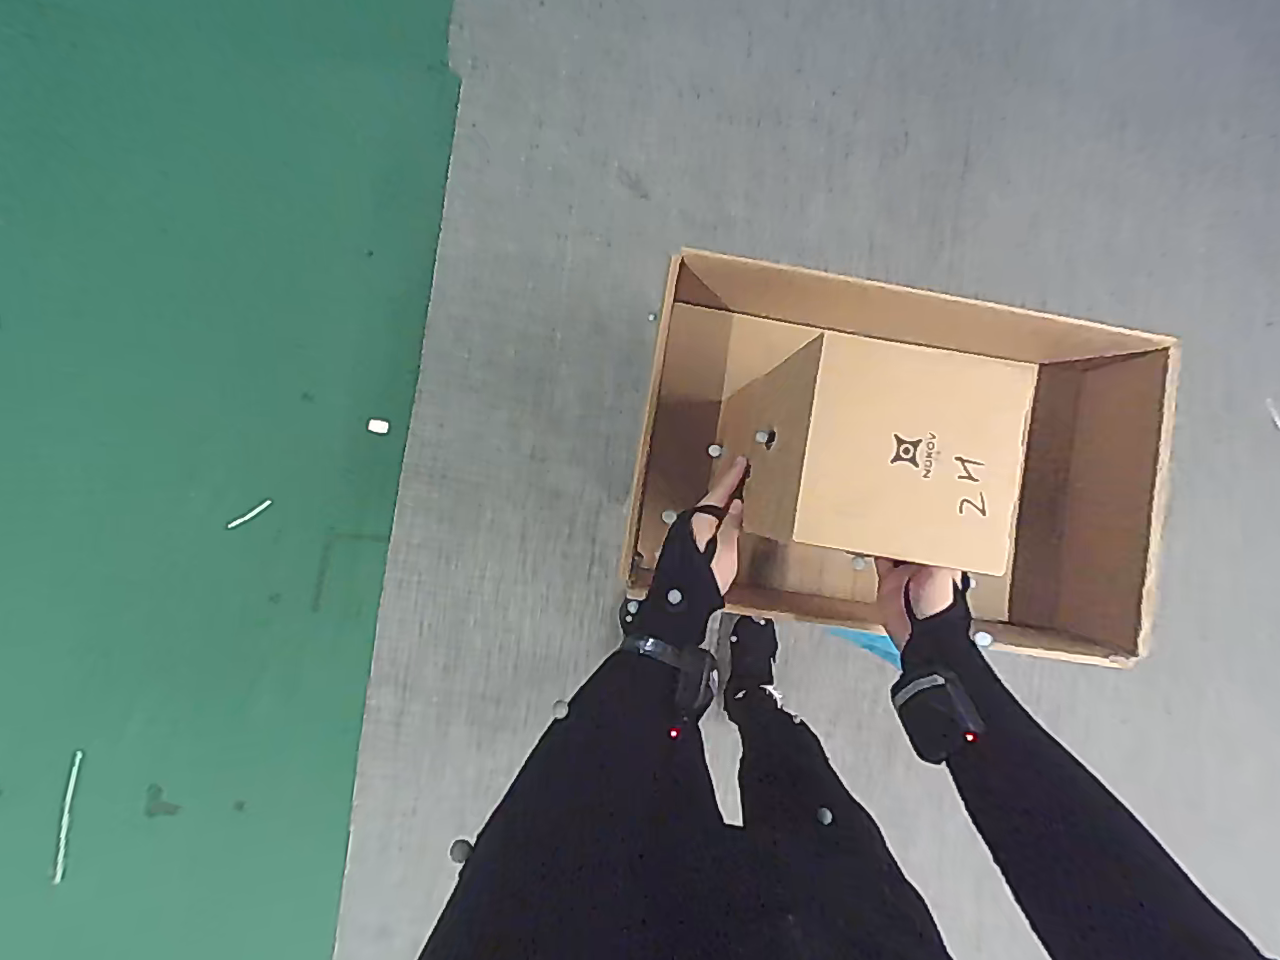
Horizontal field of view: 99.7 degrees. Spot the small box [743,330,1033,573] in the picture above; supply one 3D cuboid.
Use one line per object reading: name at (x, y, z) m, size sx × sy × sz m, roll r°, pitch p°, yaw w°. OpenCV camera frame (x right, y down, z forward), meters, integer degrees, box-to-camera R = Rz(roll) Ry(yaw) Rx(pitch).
small box at (0.205, -0.019, 0.495) m, size 0.179 × 0.176 × 0.168 m, roll 10°, pitch 88°, yaw -4°
